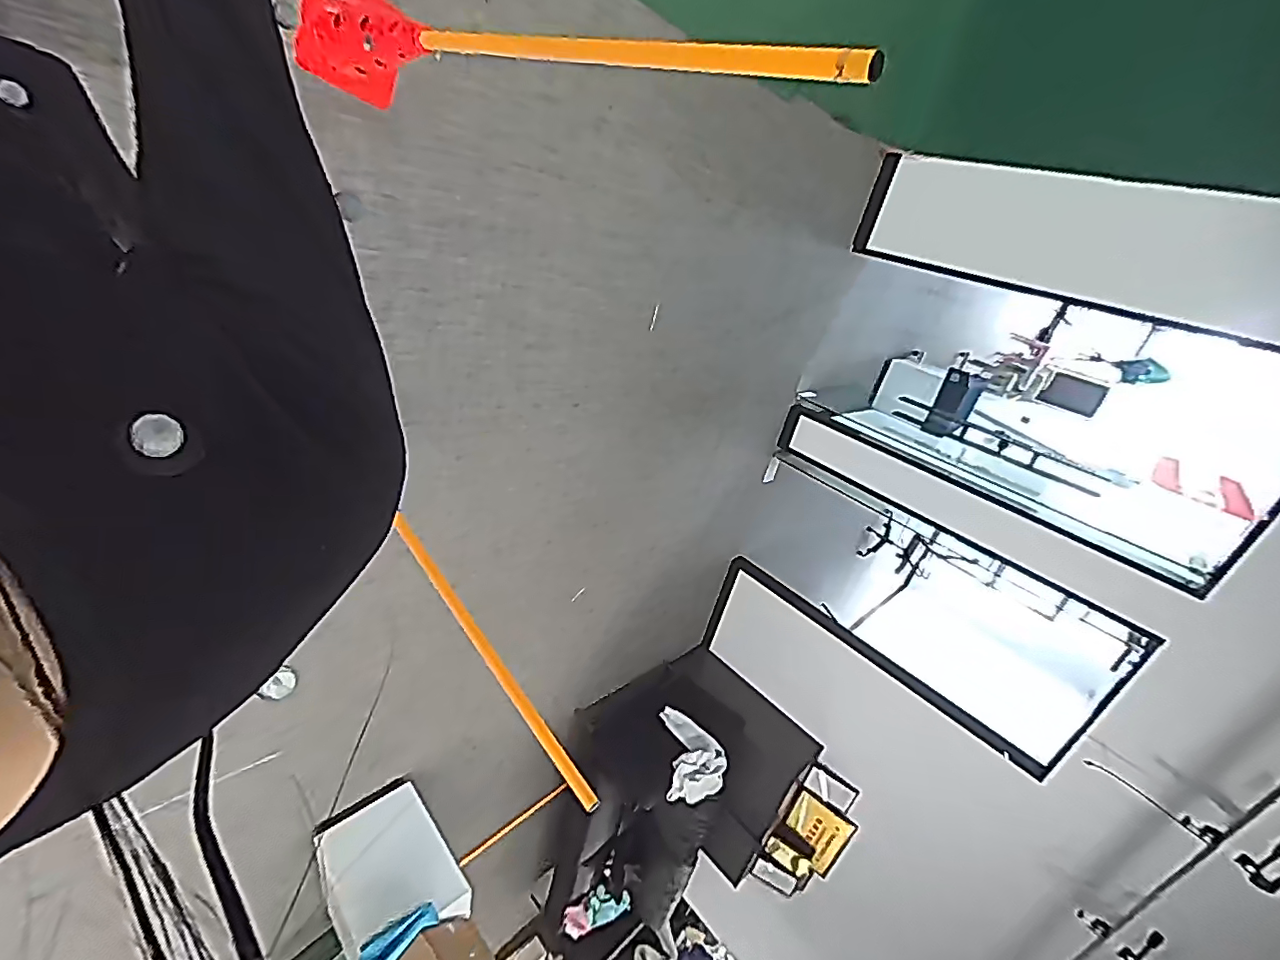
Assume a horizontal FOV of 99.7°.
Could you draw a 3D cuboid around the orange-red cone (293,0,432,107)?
[{"bbox_3d":[-0.499,-0.860,1.051,0.198,0.360,0.199,3,116,-50],"label":"orange-red cone"}]
